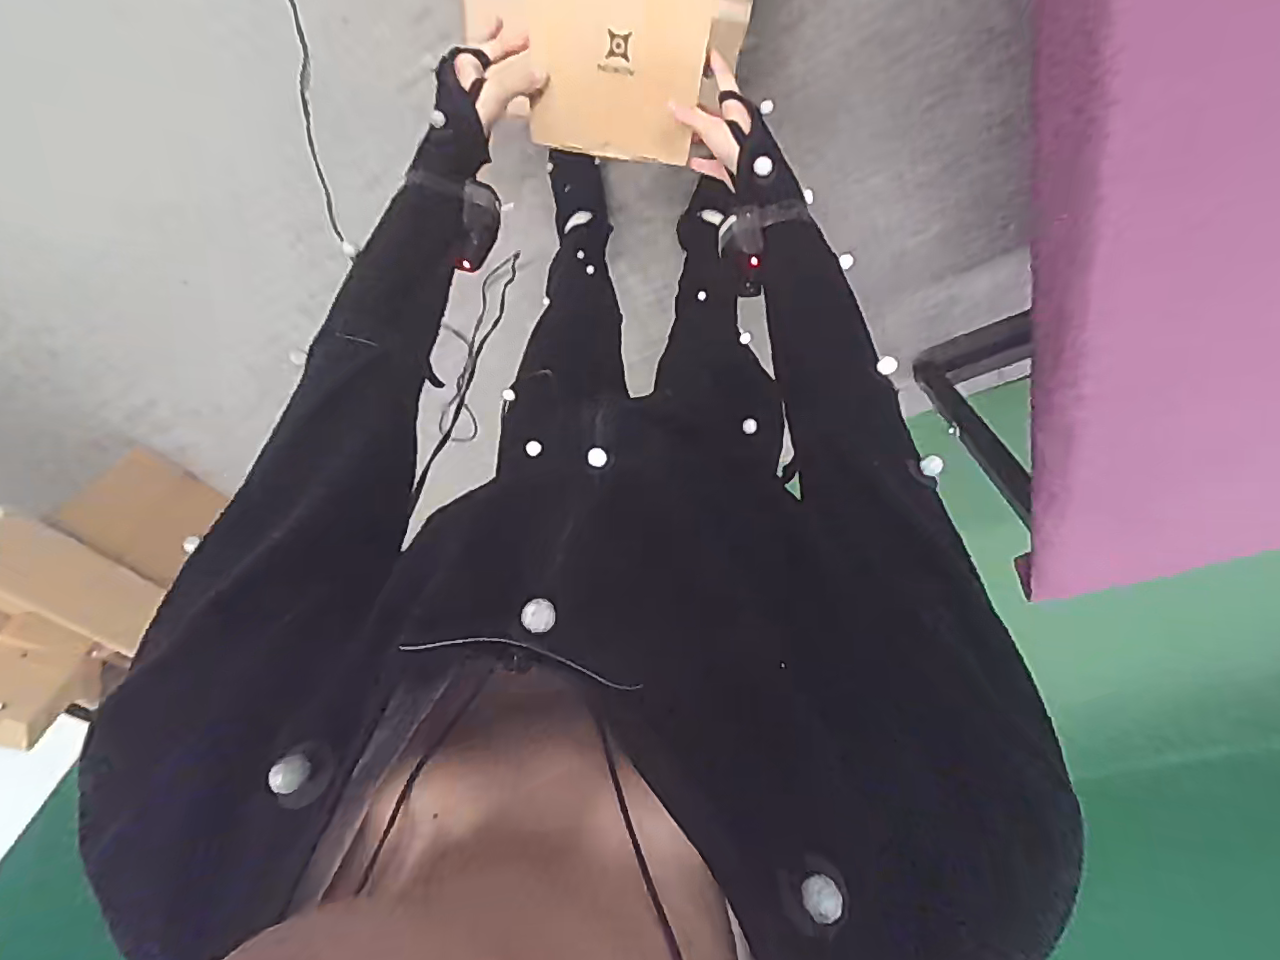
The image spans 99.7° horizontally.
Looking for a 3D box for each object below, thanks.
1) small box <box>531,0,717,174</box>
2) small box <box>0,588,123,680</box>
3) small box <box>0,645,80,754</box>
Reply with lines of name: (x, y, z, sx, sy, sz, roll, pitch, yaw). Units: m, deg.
small box: (-0.023, -0.448, 0.560, 0.168, 0.176, 0.179, 4, 137, -6)
small box: (-1.521, 0.414, 1.424, 0.168, 0.176, 0.179, 32, 123, -24)
small box: (-1.515, 0.531, 1.309, 0.168, 0.176, 0.179, 27, 126, -21)
